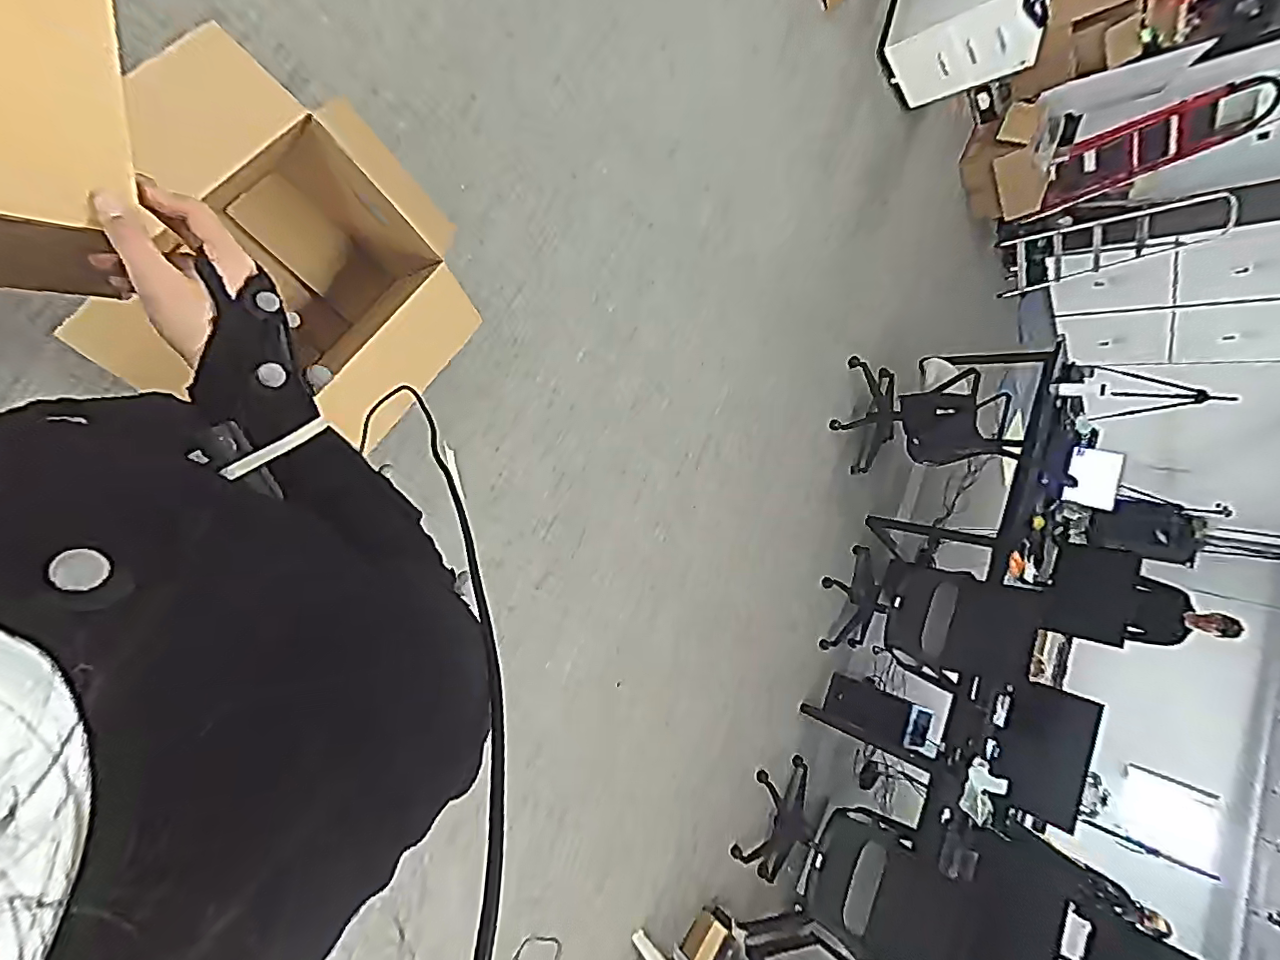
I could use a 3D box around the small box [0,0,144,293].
[{"bbox_3d":[-0.424,-0.218,0.317,0.179,0.176,0.168,-8,96,-44],"label":"small box"}]
